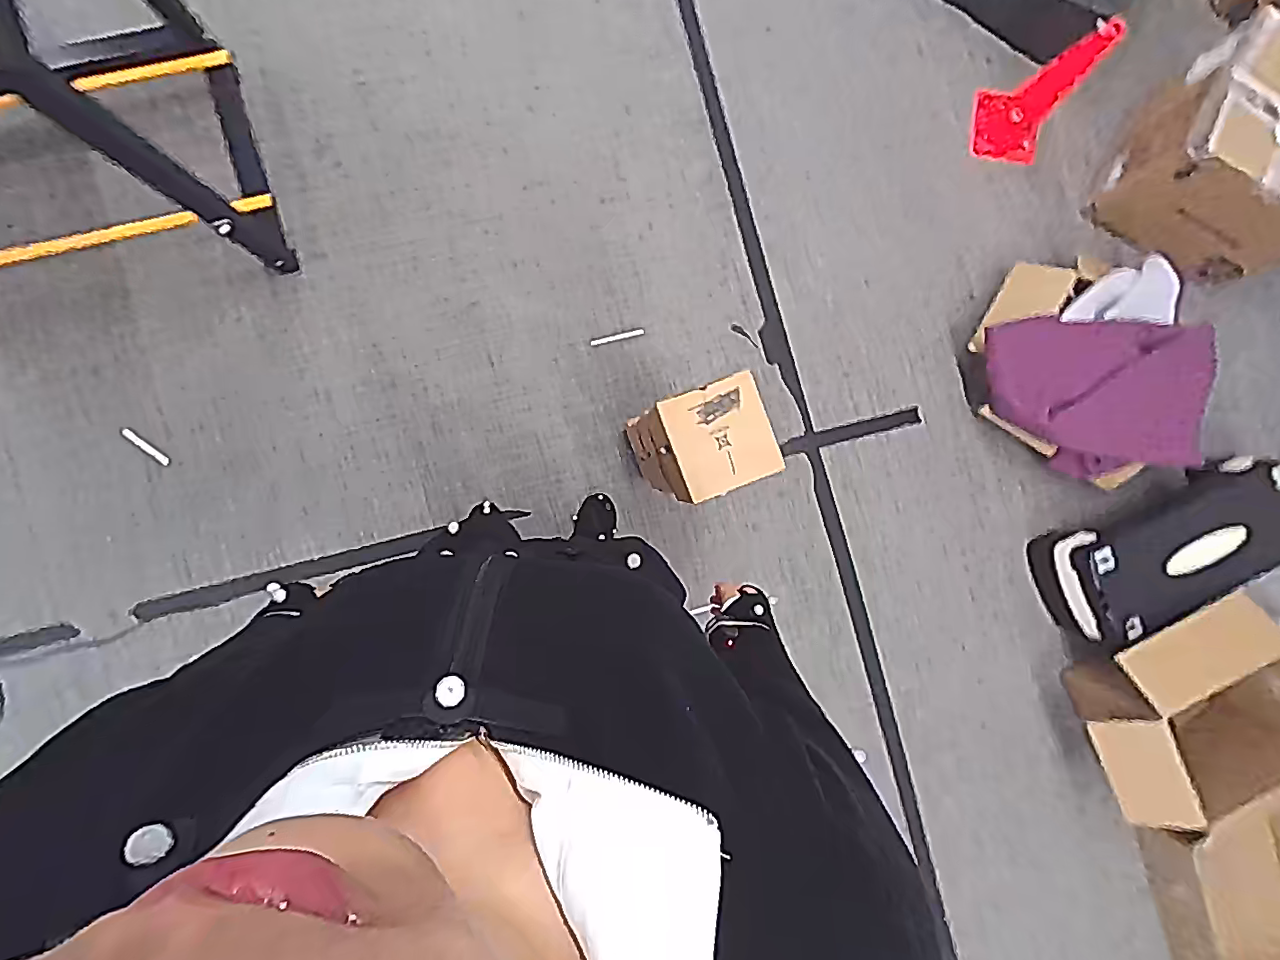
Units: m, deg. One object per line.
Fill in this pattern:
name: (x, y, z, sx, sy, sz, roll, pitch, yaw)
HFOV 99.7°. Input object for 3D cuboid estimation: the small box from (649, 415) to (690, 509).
small box: (0.127, -0.051, 1.031, 0.179, 0.176, 0.168, -18, 91, -4)

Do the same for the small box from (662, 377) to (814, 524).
small box: (0.145, -0.043, 0.868, 0.168, 0.176, 0.179, -21, 93, -5)

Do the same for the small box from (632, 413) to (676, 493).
small box: (0.088, -0.076, 1.357, 0.179, 0.176, 0.168, -22, 91, -3)

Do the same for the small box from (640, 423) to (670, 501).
small box: (0.107, -0.058, 1.195, 0.179, 0.176, 0.168, -23, 92, -4)
